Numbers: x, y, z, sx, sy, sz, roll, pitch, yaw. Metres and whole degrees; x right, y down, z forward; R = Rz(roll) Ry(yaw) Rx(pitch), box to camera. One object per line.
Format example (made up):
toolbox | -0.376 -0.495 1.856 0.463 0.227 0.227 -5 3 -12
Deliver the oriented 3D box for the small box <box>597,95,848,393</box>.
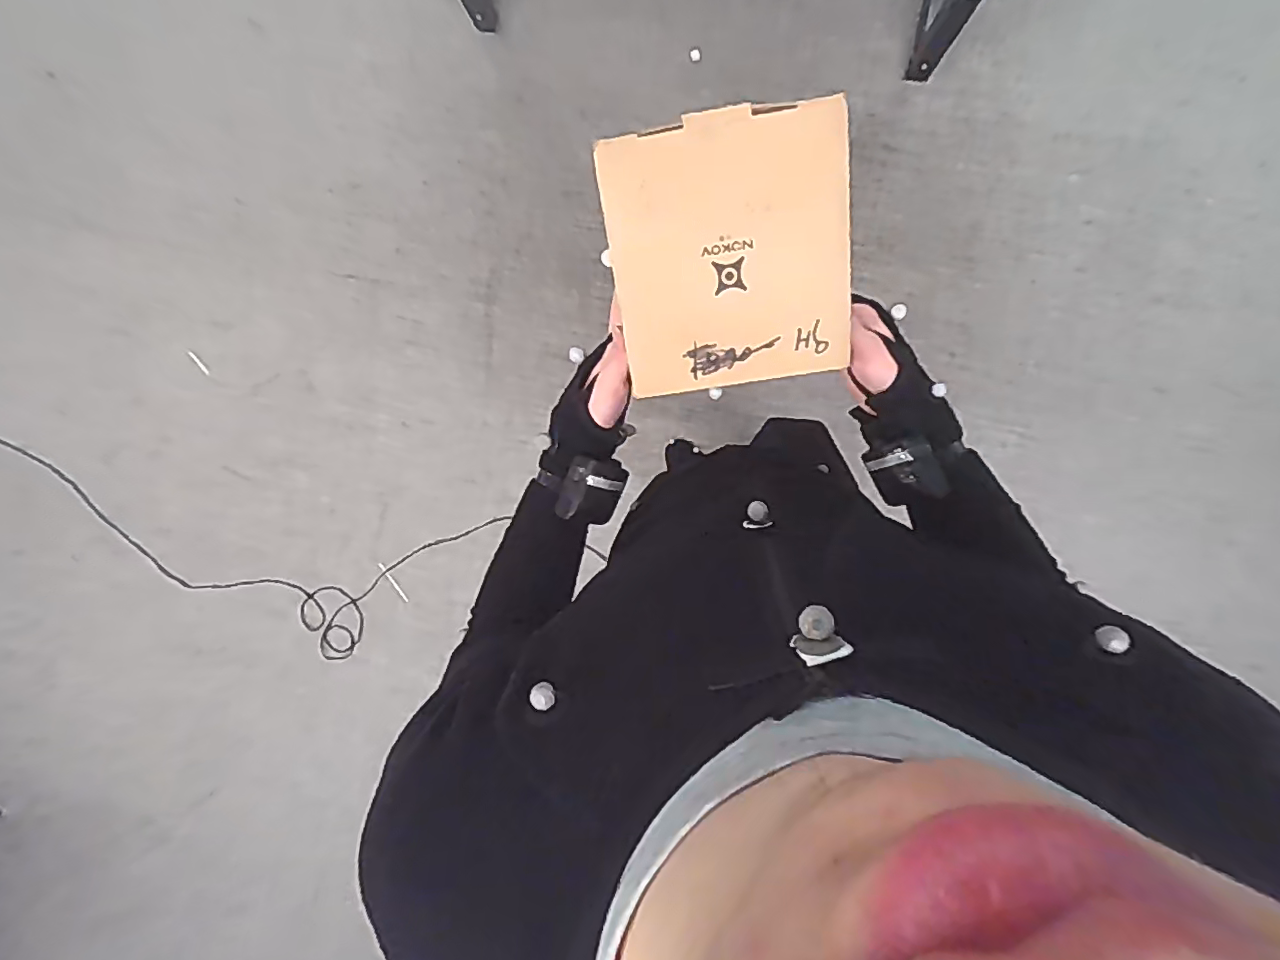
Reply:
small box | 0.065 -0.186 0.452 0.168 0.176 0.179 -7 114 6
